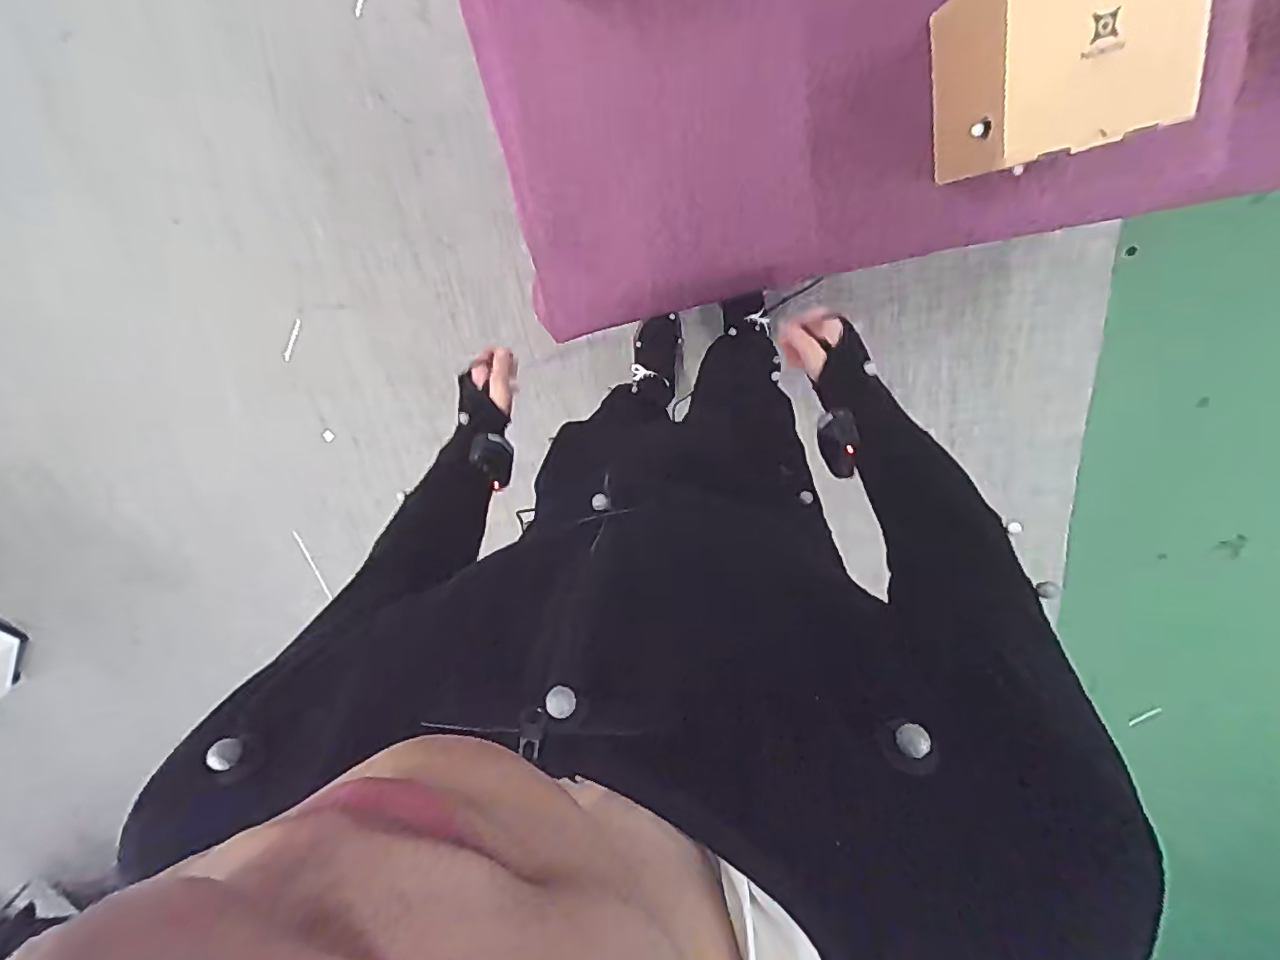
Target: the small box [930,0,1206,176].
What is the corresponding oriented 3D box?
[{"bbox_3d":[0.414,-0.433,0.552,0.168,0.176,0.179,-11,114,10],"label":"small box"}]
